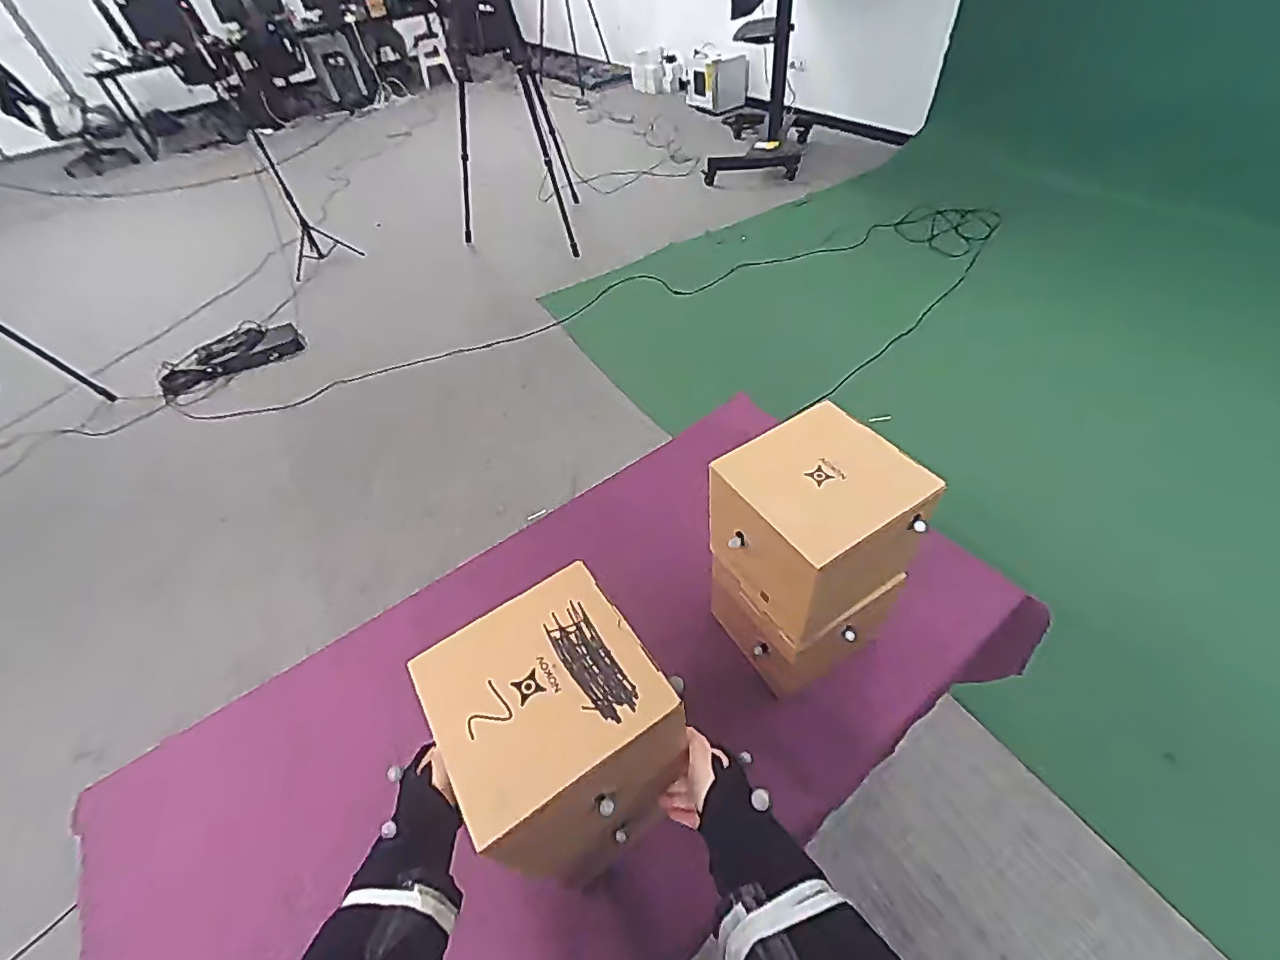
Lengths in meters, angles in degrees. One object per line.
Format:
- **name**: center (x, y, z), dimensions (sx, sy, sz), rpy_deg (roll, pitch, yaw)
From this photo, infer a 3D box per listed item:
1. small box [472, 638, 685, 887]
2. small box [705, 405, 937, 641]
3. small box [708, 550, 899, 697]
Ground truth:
- **small box**: center (-0.061, 0.327, 0.624), dimensions (0.179, 0.176, 0.168), rpy_deg (-31, 51, -20)
- **small box**: center (0.192, 0.052, 0.621), dimensions (0.179, 0.176, 0.168), rpy_deg (-28, 51, -18)
- **small box**: center (0.211, 0.163, 0.738), dimensions (0.179, 0.176, 0.168), rpy_deg (-26, 51, -16)
